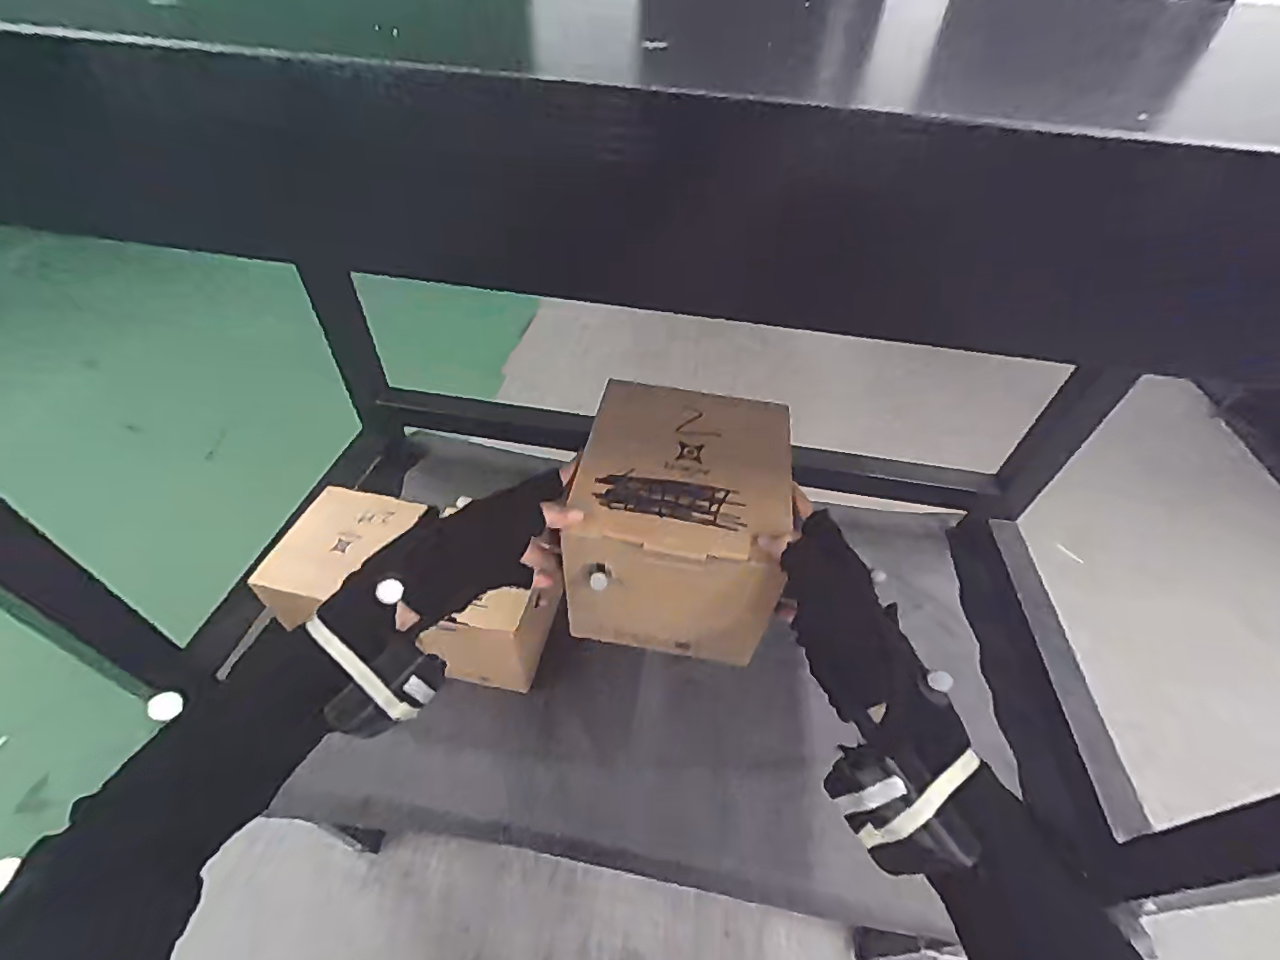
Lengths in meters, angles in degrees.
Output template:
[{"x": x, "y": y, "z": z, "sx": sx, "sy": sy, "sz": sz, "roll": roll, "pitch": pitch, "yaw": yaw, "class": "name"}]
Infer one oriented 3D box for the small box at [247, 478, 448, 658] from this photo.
[{"x": -0.397, "y": 0.129, "z": 0.776, "sx": 0.168, "sy": 0.176, "sz": 0.179, "roll": 12, "pitch": 46, "yaw": 6, "class": "small box"}]
